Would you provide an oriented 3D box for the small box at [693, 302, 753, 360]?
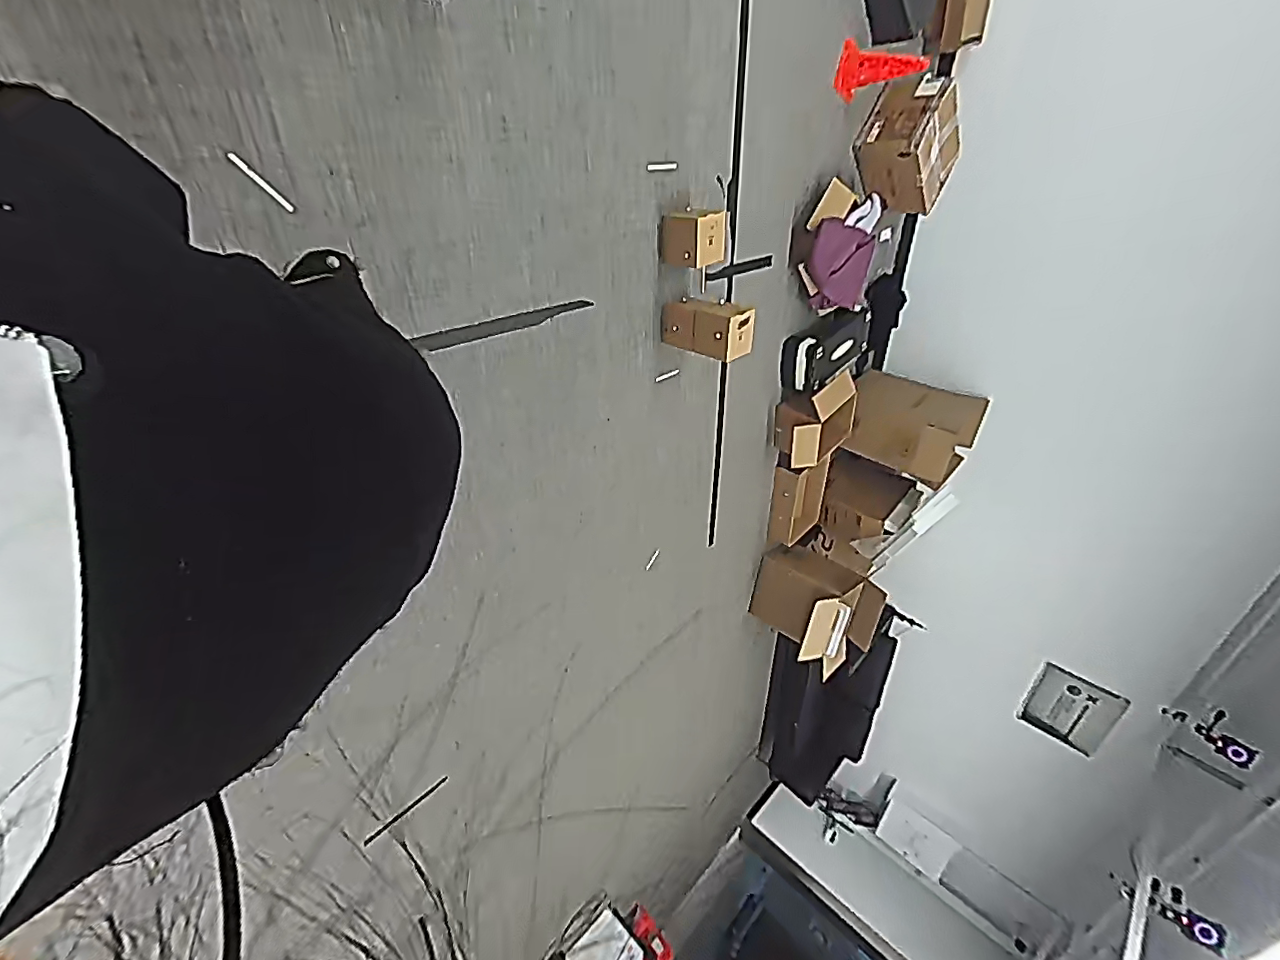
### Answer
[{"bbox_3d":[0.325,-0.595,2.137,0.168,0.176,0.179,-30,133,-36],"label":"small box"}]

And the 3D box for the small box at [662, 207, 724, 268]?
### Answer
[{"bbox_3d":[0.198,-0.924,2.052,0.168,0.176,0.179,-32,134,-35],"label":"small box"}]

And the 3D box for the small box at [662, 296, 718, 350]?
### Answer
[{"bbox_3d":[0.206,-0.653,2.237,0.179,0.176,0.168,-28,132,-37],"label":"small box"}]
